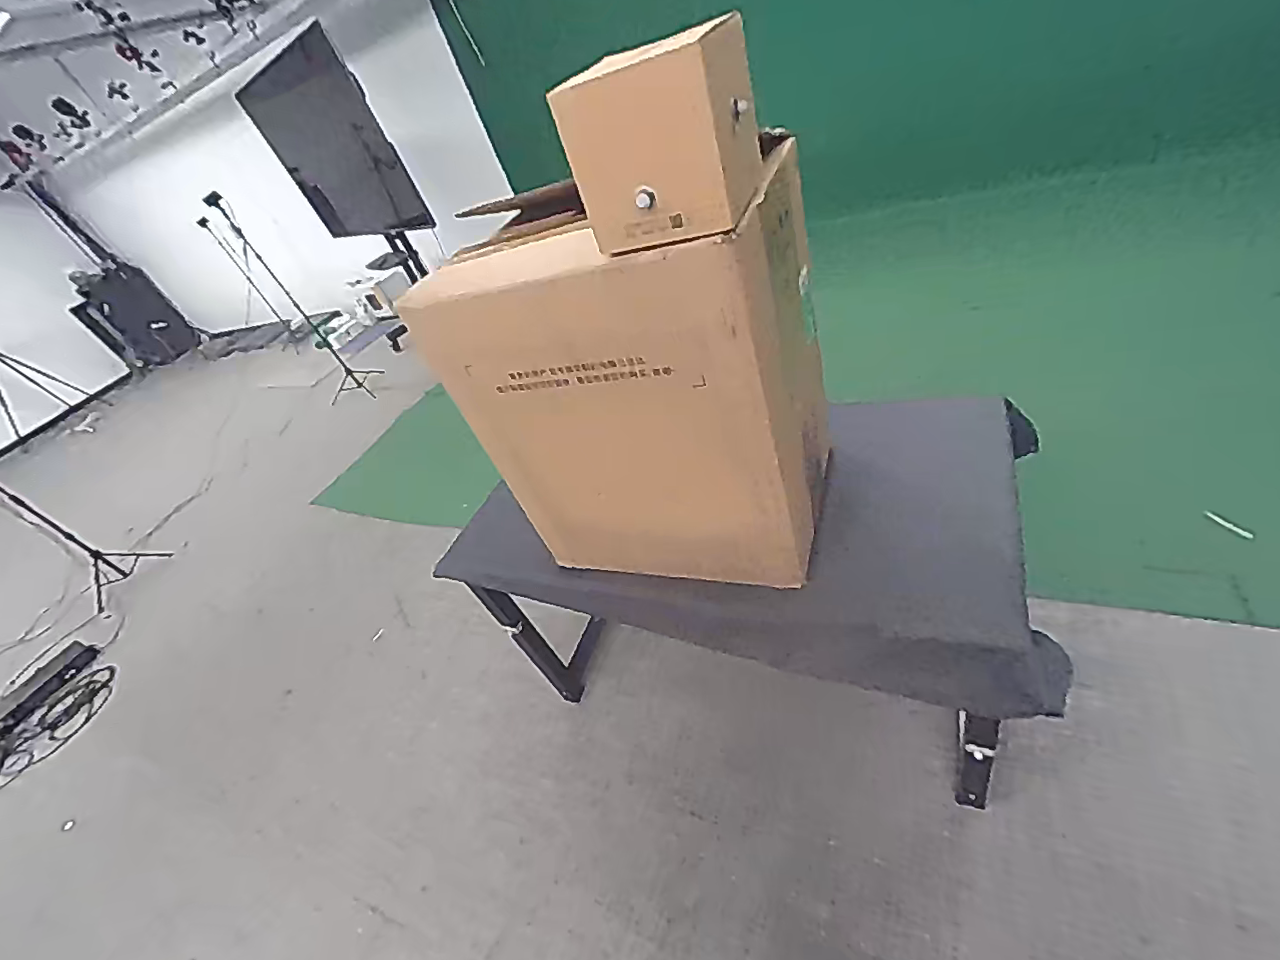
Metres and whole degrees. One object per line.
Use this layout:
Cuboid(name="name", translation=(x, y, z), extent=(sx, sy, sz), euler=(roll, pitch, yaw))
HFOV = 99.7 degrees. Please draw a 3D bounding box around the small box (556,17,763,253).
Cuboid(name="small box", translation=(0.037, -0.382, 0.613), extent=(0.168, 0.176, 0.179), euler=(2, 46, 26))
